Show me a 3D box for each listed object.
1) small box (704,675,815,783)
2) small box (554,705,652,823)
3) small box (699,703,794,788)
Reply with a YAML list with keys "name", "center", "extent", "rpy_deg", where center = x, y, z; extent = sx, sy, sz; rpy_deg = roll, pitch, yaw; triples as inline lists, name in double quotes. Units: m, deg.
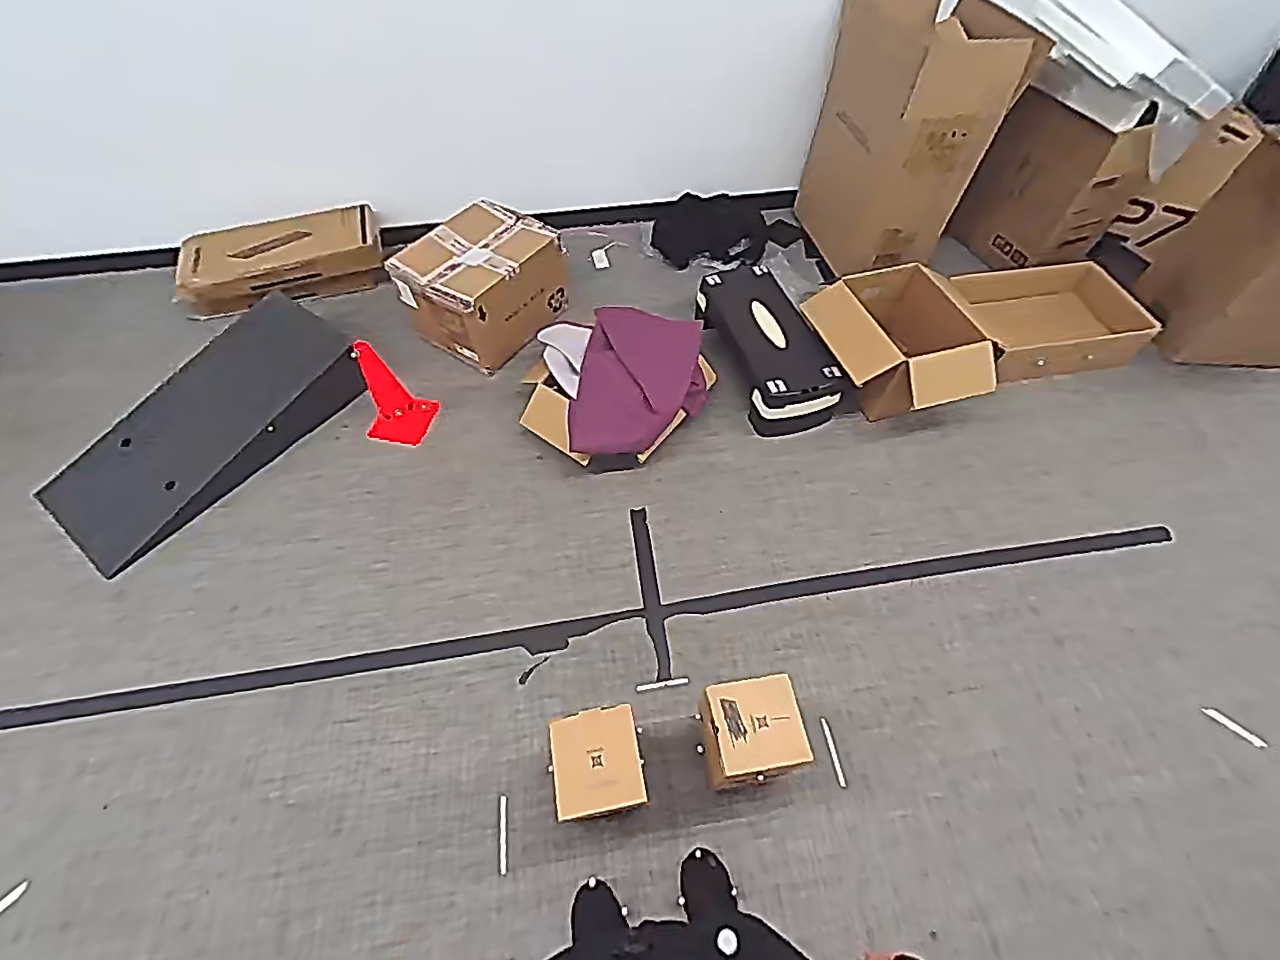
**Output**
- name: "small box"
  center: [0.234, 0.519, 1.120]
  extent: [0.179, 0.176, 0.168]
  rpy_deg: [-7, 57, -6]
- name: "small box"
  center: [-0.074, 0.574, 1.088]
  extent: [0.168, 0.176, 0.179]
  rpy_deg: [-11, 58, -5]
- name: "small box"
  center: [0.239, 0.610, 1.258]
  extent: [0.168, 0.176, 0.179]
  rpy_deg: [-5, 58, -5]
